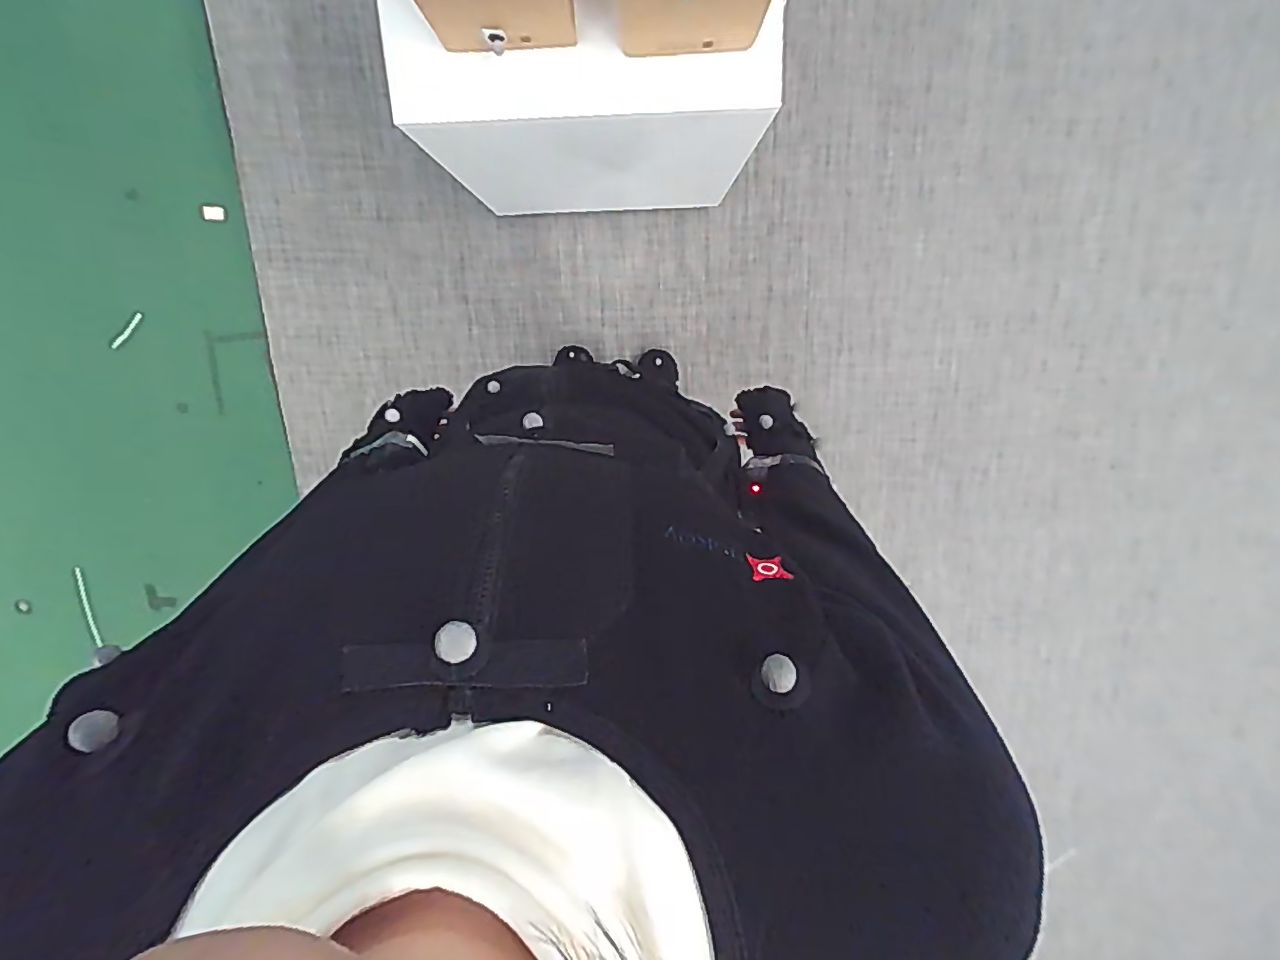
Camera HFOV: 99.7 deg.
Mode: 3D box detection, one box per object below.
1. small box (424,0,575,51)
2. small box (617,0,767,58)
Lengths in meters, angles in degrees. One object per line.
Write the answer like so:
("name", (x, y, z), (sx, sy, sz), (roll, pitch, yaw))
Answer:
("small box", (-0.165, -0.603, 0.574), (0.168, 0.176, 0.179), (-4, 106, 2))
("small box", (0.054, -0.605, 0.588), (0.168, 0.176, 0.179), (-2, 104, 0))
